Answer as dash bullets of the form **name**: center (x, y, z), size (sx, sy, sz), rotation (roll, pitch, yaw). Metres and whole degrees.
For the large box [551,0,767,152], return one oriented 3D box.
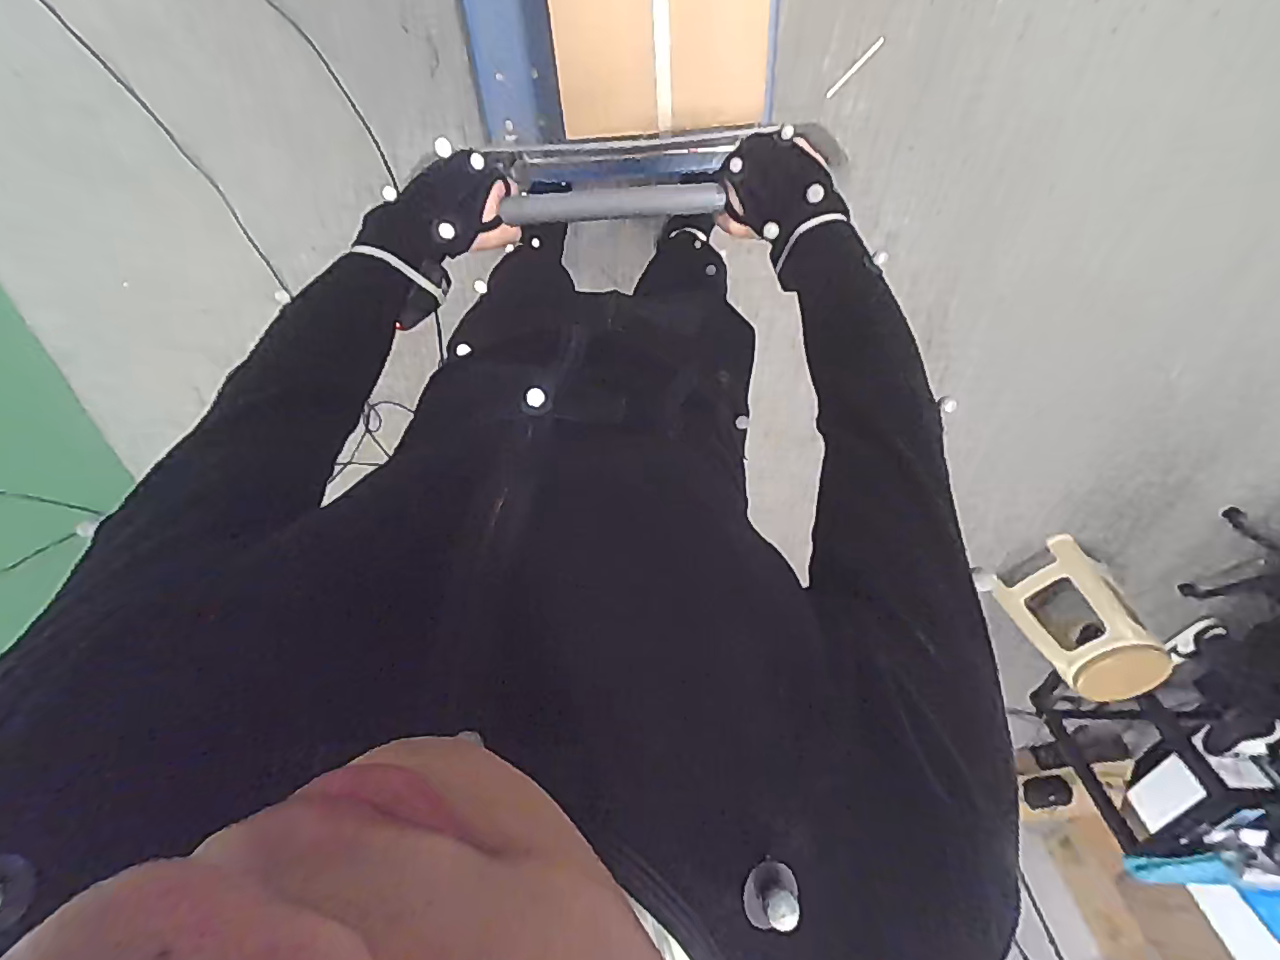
- **large box**: center (0.029, -0.793, 0.883), size (0.320, 0.320, 0.408), rotation (-3, 126, 3)
